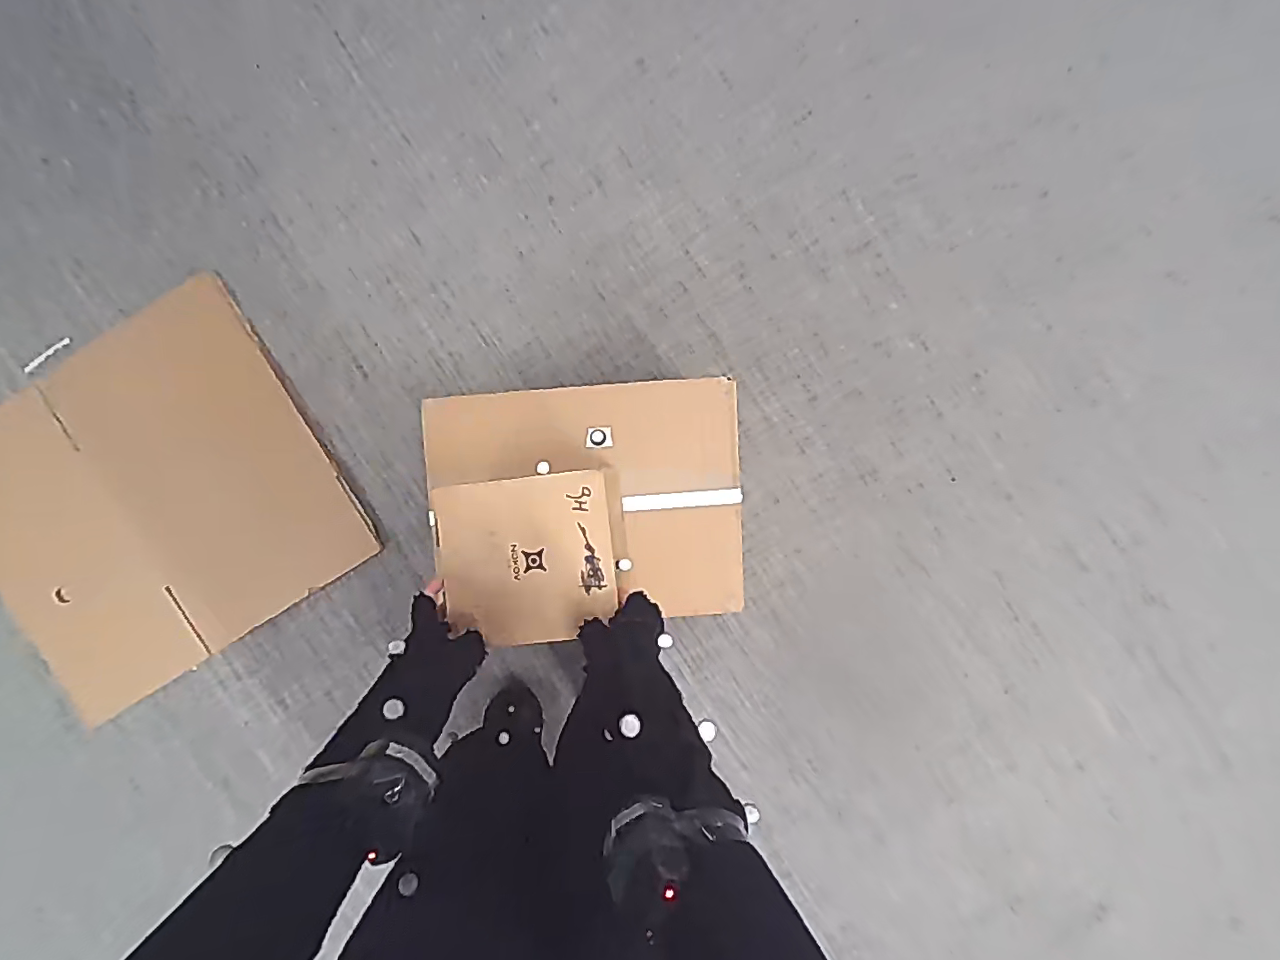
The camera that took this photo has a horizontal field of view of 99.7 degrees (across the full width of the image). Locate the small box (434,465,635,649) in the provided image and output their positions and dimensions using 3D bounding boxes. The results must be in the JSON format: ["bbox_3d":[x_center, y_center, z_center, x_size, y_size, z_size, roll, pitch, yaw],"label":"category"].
[{"bbox_3d":[-0.108,0.080,0.621,0.179,0.176,0.168,-10,89,3],"label":"small box"}]
